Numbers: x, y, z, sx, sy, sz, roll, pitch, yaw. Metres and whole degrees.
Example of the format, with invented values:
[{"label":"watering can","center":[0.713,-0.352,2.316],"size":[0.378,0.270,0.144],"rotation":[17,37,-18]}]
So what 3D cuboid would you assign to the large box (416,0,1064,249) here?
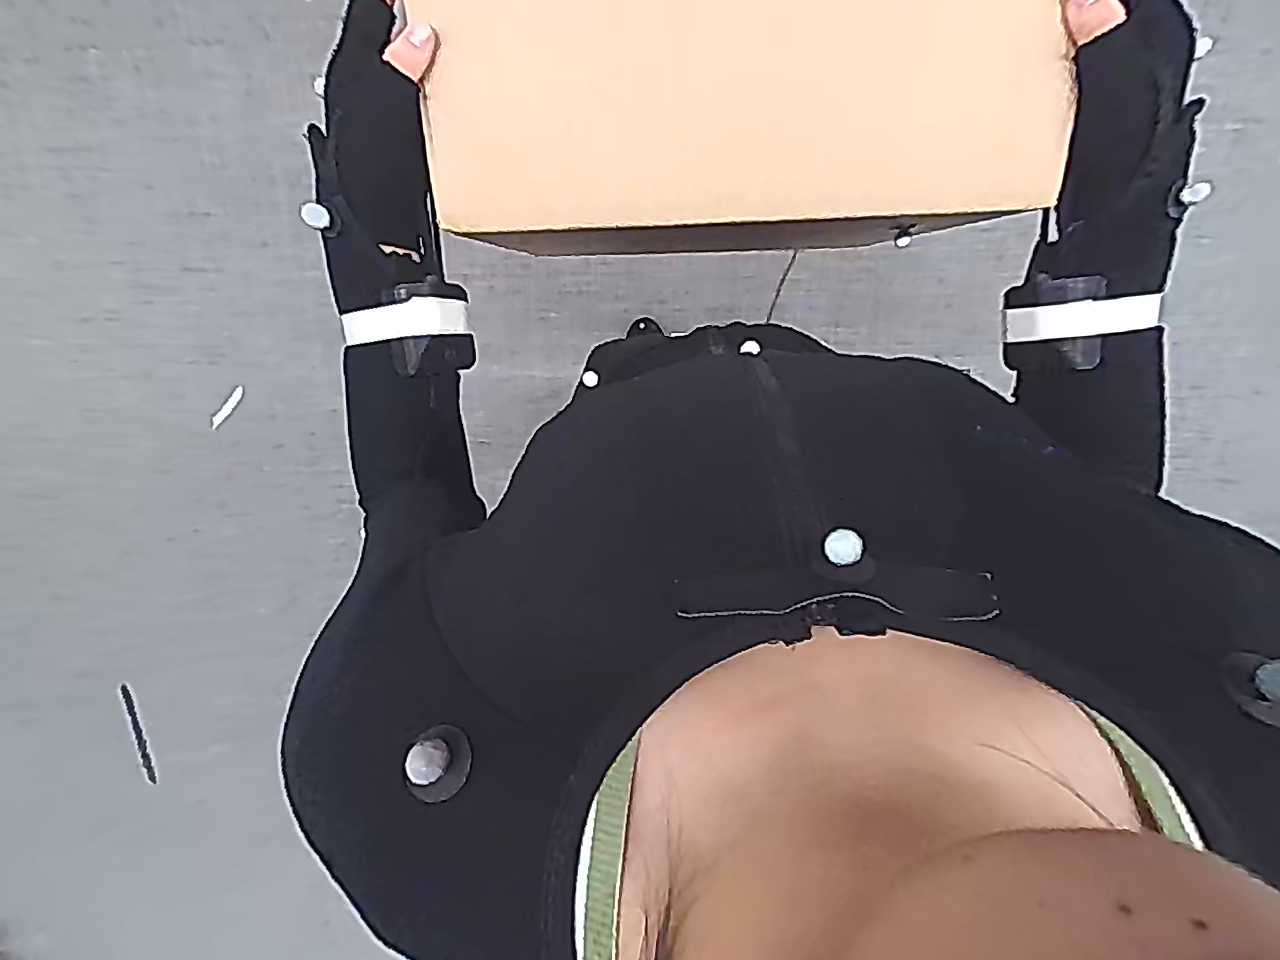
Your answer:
[{"label":"large box","center":[0.062,-0.376,0.458],"size":[0.408,0.320,0.320],"rotation":[-1,110,2]}]
